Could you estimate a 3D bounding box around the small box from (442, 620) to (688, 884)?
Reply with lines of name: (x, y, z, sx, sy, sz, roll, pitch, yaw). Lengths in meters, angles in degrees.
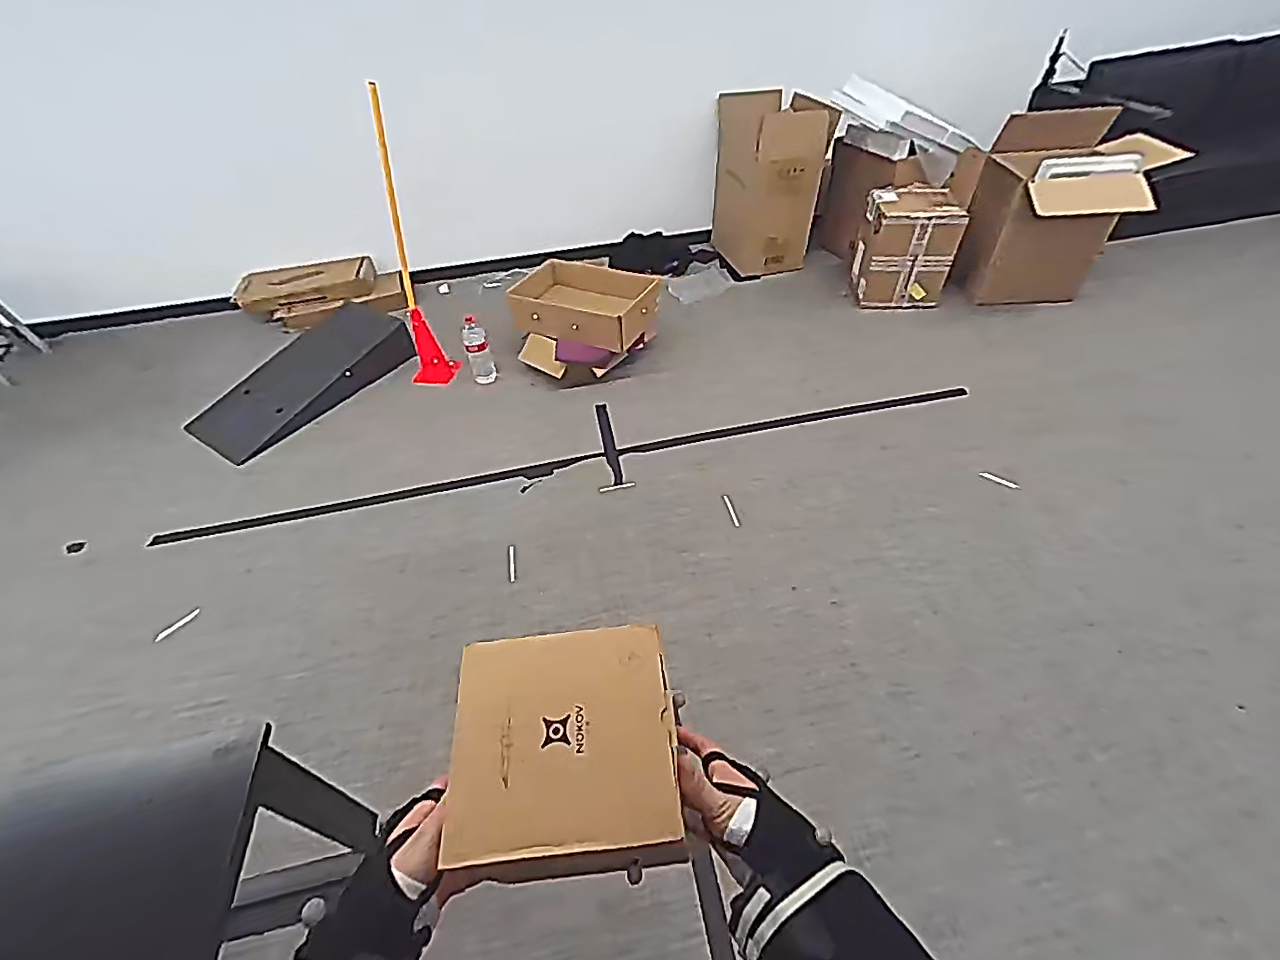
small box: (-0.053, 0.248, 0.488, 0.179, 0.176, 0.168, -9, 48, 0)
